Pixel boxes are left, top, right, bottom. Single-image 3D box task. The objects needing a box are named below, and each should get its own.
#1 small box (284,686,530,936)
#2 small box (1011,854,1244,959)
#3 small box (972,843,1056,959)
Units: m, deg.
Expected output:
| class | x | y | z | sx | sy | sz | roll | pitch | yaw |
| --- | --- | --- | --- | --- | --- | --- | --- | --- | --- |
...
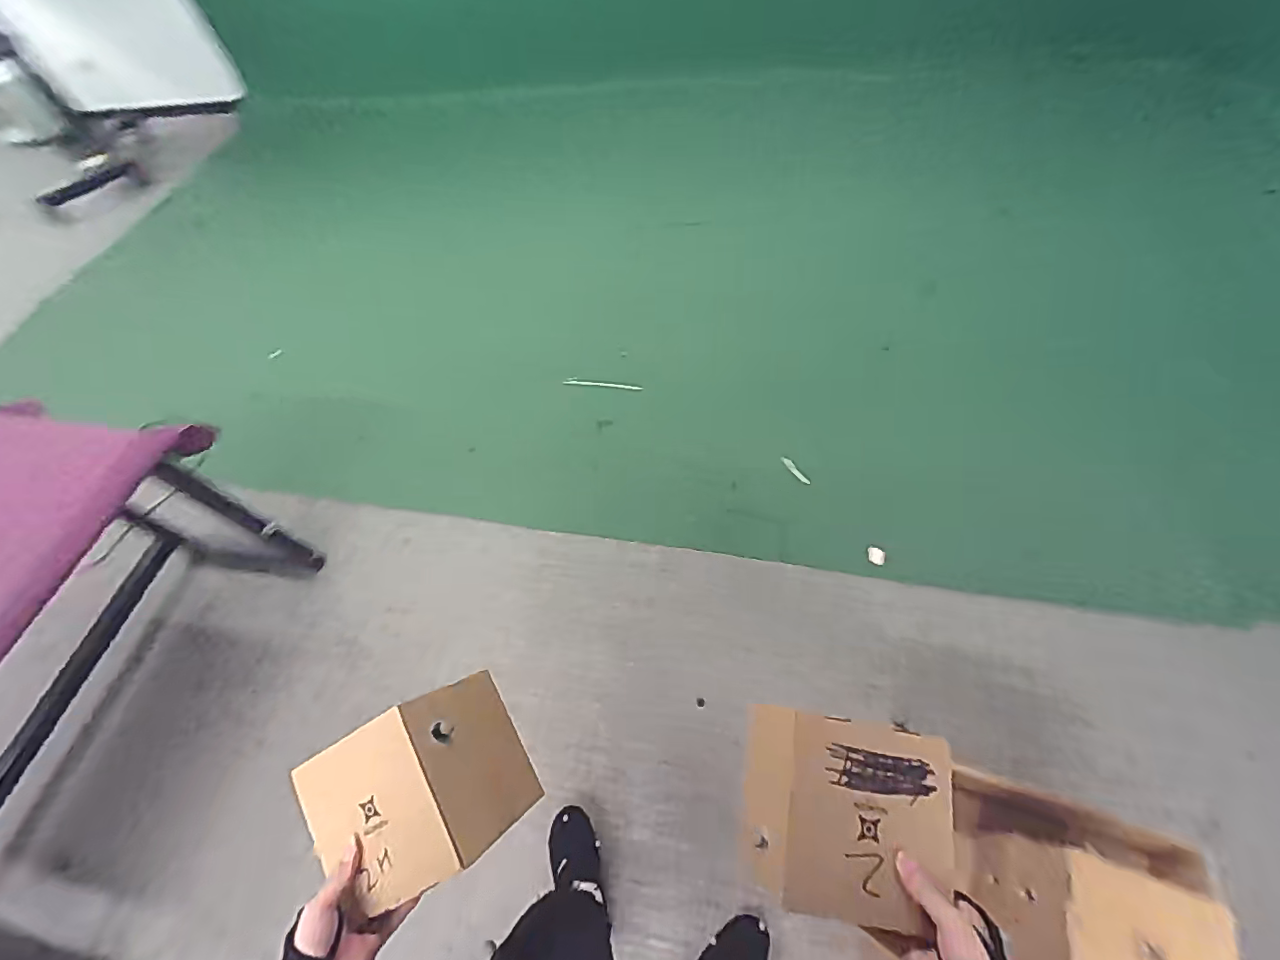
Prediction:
| class | x | y | z | sx | sy | sz | roll | pitch | yaw |
| --- | --- | --- | --- | --- | --- | --- | --- | --- | --- |
| small box | -0.263 | 0.364 | 0.638 | 0.168 | 0.176 | 0.179 | -35 | 75 | 11 |
| small box | 0.624 | 0.616 | 0.708 | 0.179 | 0.176 | 0.168 | 14 | 62 | 18 |
| small box | 0.645 | 0.699 | 0.847 | 0.168 | 0.176 | 0.179 | 16 | 62 | 18 |
